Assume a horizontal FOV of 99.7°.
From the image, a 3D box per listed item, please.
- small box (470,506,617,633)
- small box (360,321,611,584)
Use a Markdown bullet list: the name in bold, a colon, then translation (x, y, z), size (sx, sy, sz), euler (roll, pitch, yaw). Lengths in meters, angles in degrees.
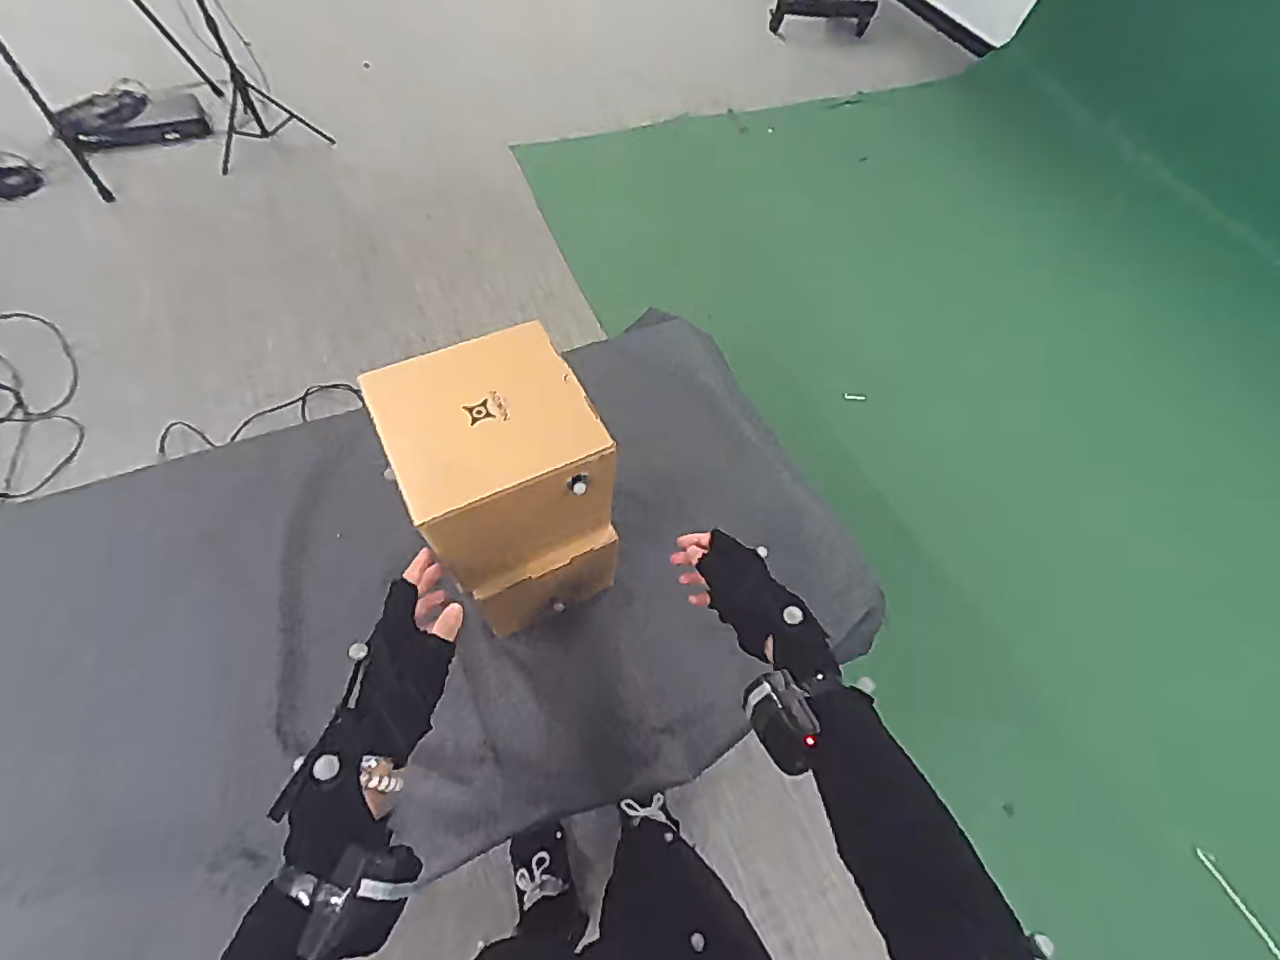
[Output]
- **small box**: translation (-0.143, 0.064, 0.679), size (0.168, 0.176, 0.179), euler (-23, 65, -17)
- **small box**: translation (-0.142, -0.021, 0.540), size (0.179, 0.176, 0.168), euler (-24, 65, -19)
